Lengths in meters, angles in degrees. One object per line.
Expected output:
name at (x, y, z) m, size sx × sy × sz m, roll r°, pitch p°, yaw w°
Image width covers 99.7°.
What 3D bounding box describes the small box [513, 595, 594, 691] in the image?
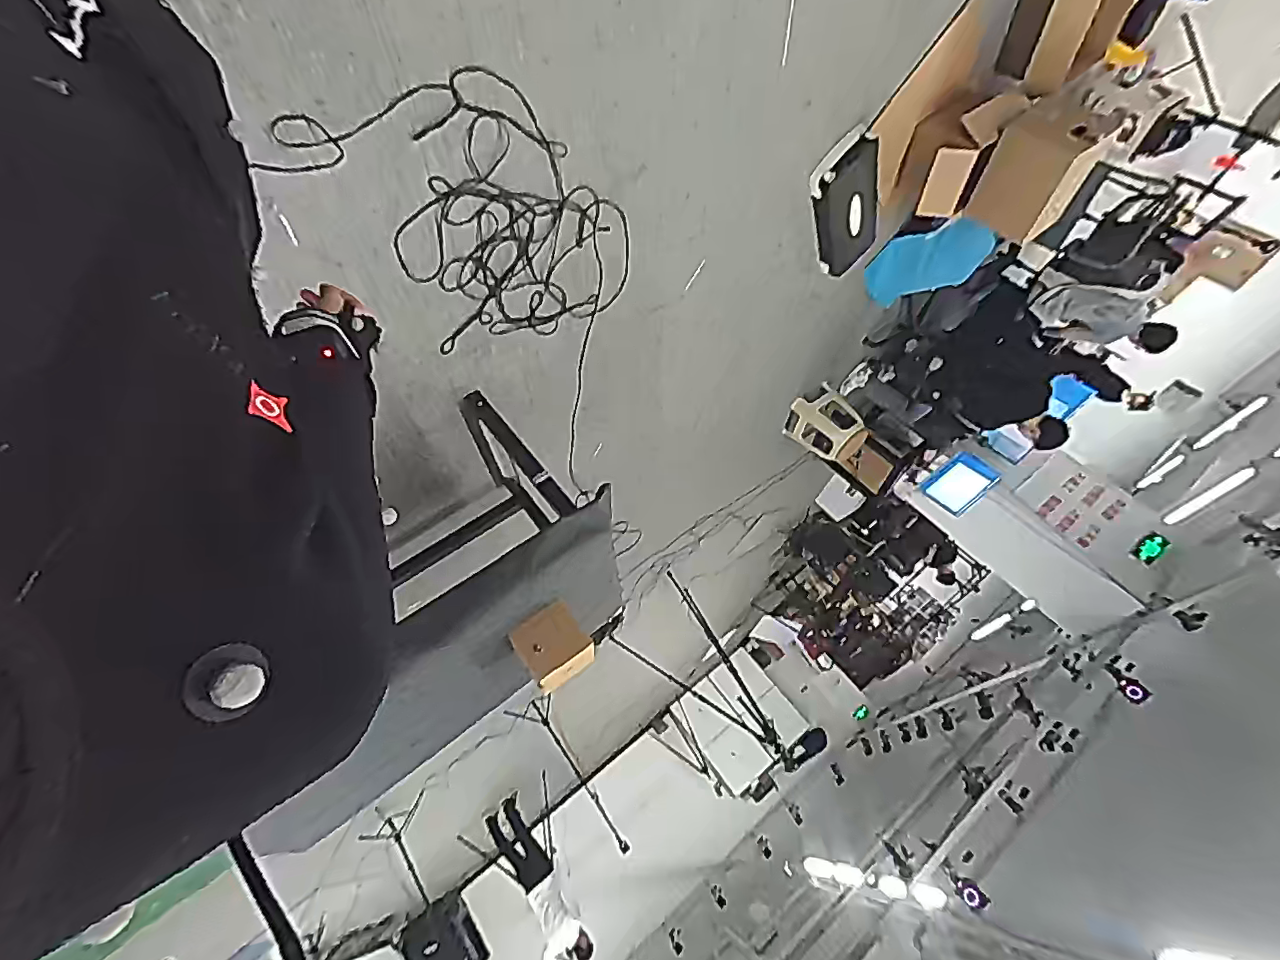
small box at (-0.251, 0.467, 1.553) m, size 0.179 × 0.176 × 0.168 m, roll -33°, pitch 154°, yaw -23°
